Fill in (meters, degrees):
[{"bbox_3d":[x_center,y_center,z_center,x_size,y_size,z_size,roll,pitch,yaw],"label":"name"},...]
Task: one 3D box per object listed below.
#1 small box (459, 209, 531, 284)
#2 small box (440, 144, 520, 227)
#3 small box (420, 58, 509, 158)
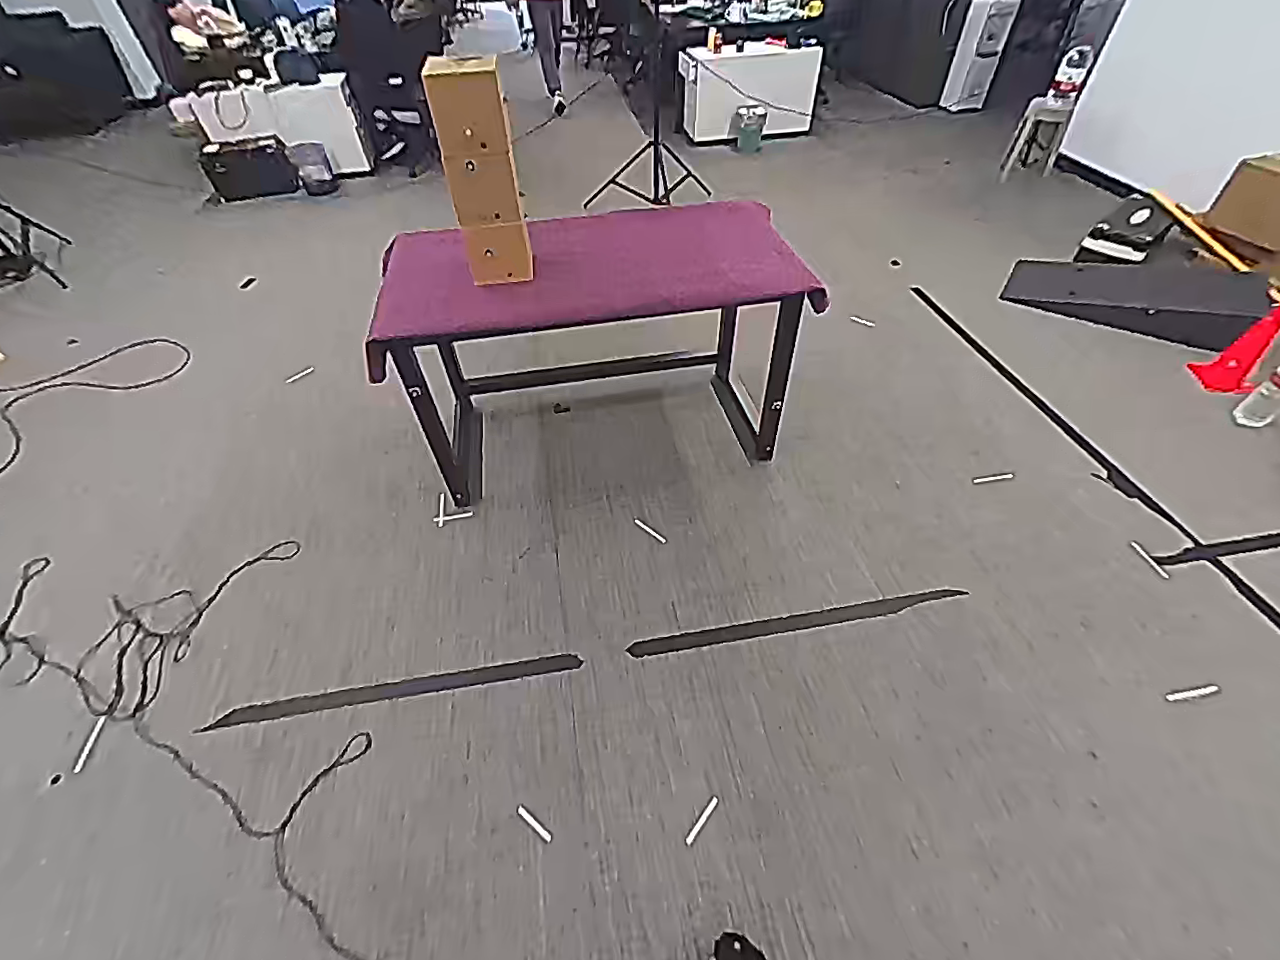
[{"bbox_3d":[-0.410,-0.675,1.549,0.168,0.176,0.179,-8,47,-5],"label":"small box"},{"bbox_3d":[-0.416,-0.790,1.433,0.168,0.176,0.179,-9,47,-5],"label":"small box"},{"bbox_3d":[-0.417,-0.901,1.311,0.168,0.176,0.179,-8,48,-5],"label":"small box"}]
